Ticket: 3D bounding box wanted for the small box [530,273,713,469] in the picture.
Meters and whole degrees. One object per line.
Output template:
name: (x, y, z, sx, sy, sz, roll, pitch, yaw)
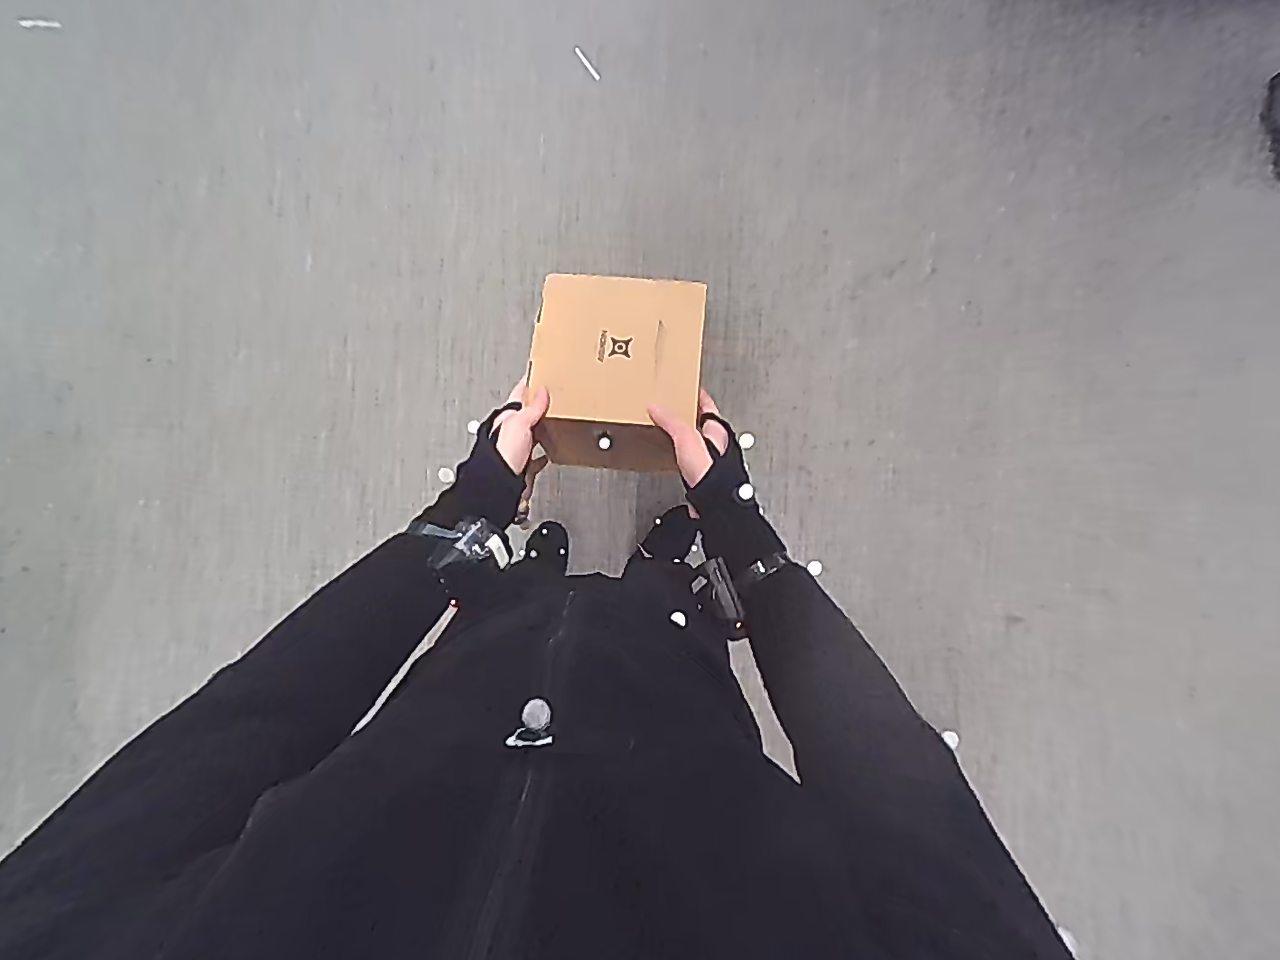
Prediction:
small box: (-0.016, -0.115, 0.633, 0.179, 0.176, 0.168, 5, 77, 1)
